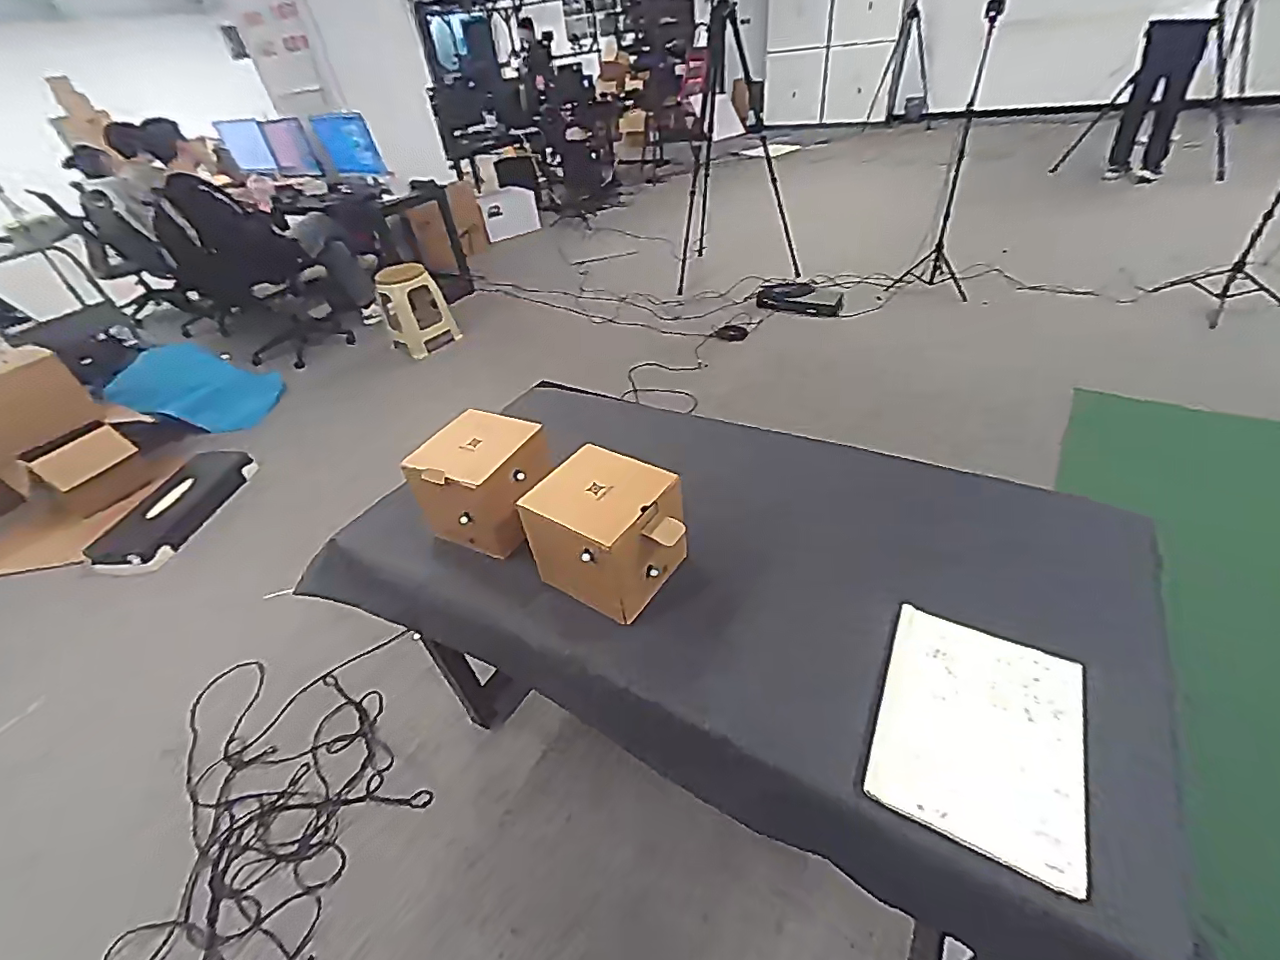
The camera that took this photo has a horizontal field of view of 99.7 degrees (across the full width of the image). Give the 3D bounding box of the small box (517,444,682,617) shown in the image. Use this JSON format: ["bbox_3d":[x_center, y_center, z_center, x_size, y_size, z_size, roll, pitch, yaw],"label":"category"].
[{"bbox_3d":[-0.052,0.075,0.817,0.179,0.176,0.168,21,47,30],"label":"small box"}]

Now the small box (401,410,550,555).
[{"bbox_3d":[-0.269,0.003,0.941,0.168,0.176,0.179,14,43,23],"label":"small box"}]
